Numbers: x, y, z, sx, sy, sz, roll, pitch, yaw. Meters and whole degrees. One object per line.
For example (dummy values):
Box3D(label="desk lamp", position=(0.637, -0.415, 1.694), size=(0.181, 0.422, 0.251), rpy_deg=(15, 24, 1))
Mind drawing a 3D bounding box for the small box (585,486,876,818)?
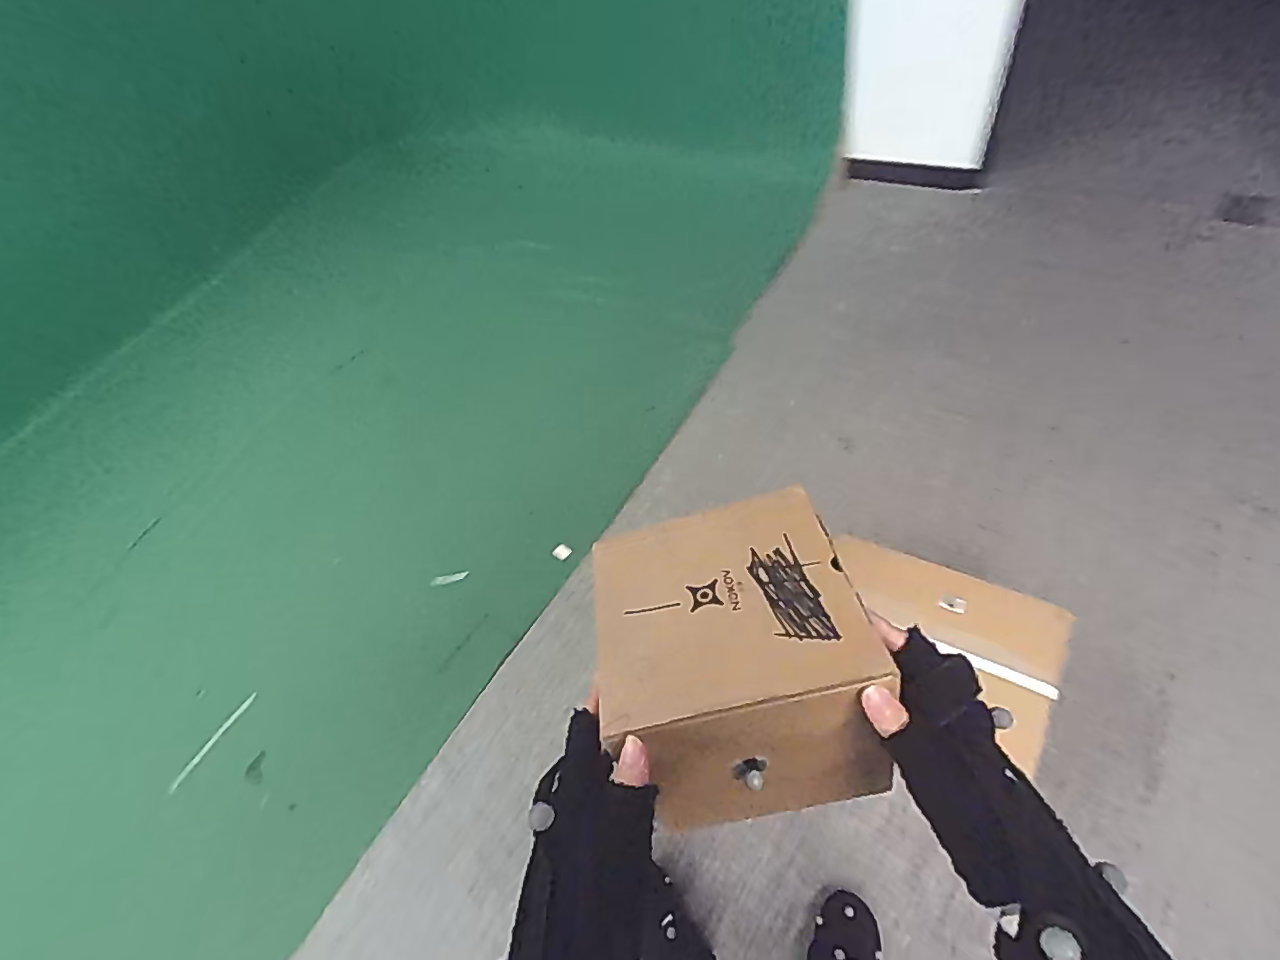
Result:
Box3D(label="small box", position=(0.067, 0.137, 0.430), size=(0.179, 0.176, 0.168), rpy_deg=(-17, 38, 5))
